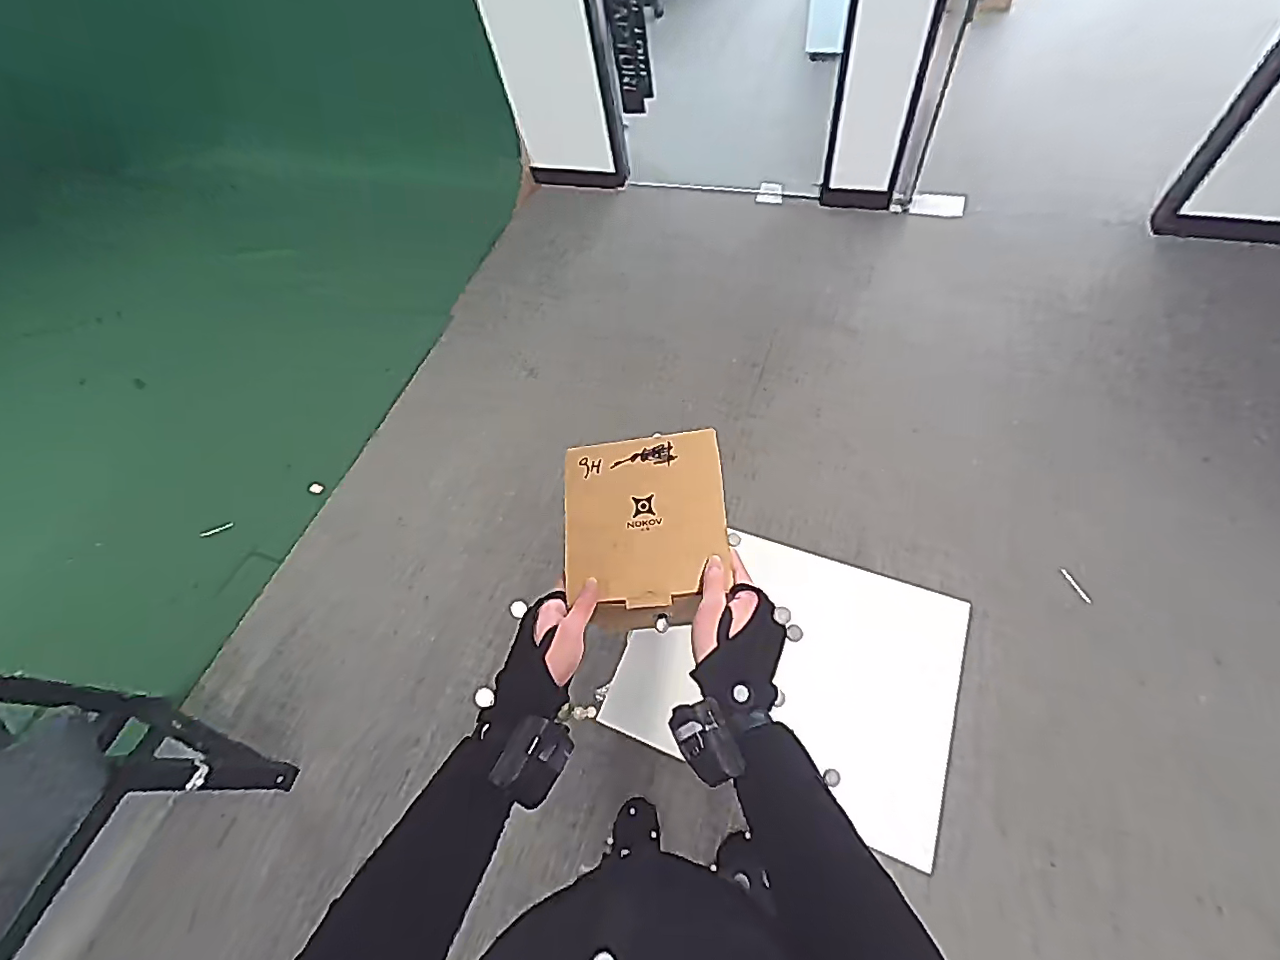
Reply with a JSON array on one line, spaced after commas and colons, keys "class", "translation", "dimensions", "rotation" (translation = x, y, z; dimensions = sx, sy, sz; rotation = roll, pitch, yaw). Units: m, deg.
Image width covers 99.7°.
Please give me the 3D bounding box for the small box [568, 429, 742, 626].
[{"class": "small box", "translation": [0.023, 0.067, 0.629], "dimensions": [0.168, 0.176, 0.179], "rotation": [-10, 65, 7]}]
